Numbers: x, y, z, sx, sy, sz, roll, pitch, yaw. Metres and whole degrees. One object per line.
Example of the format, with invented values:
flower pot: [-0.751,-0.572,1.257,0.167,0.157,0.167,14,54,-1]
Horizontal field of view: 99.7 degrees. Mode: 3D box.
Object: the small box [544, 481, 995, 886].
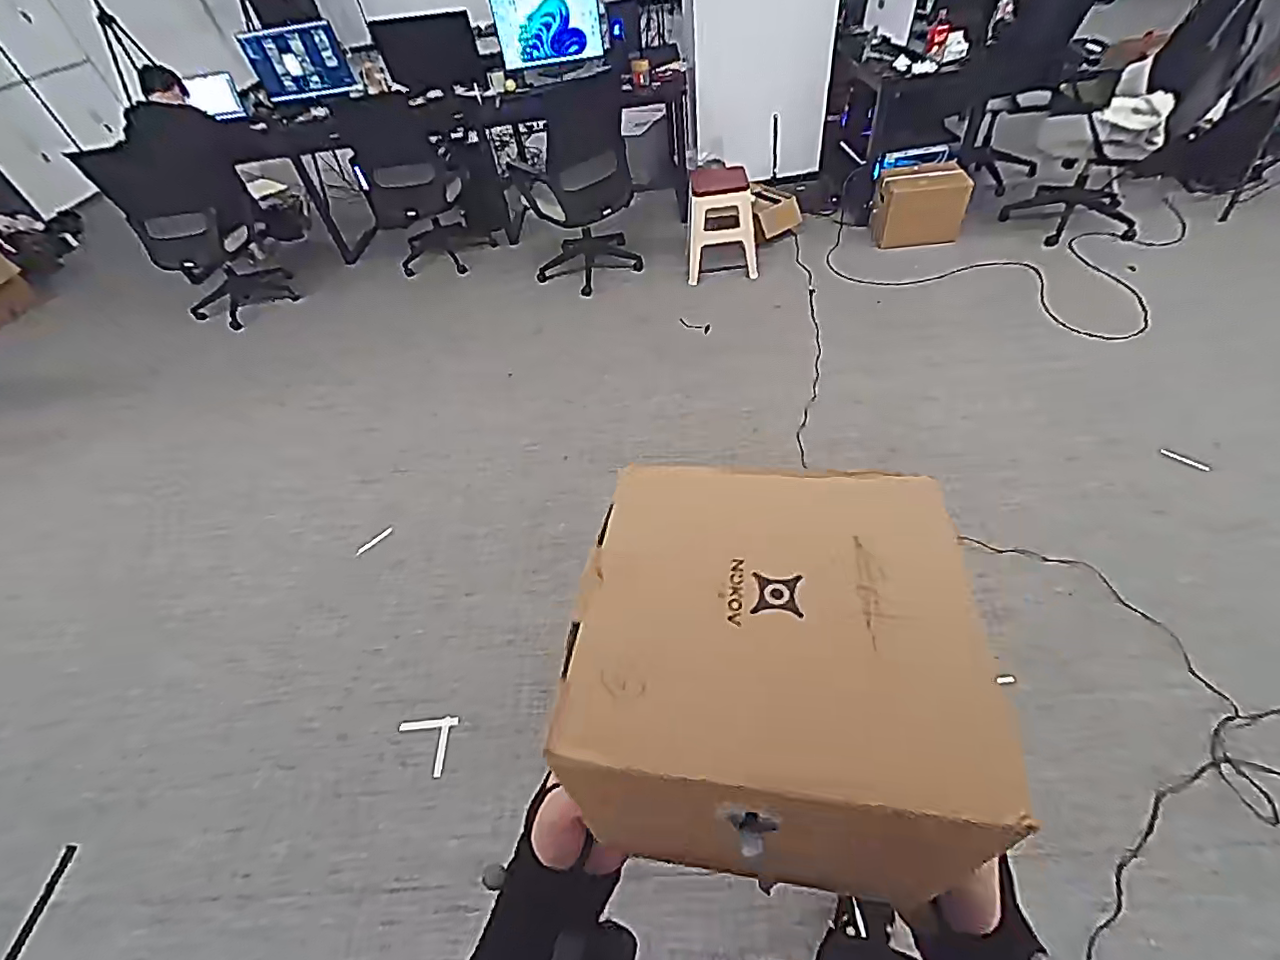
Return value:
small box: [0.065,0.117,0.319,0.179,0.176,0.168,1,46,10]
